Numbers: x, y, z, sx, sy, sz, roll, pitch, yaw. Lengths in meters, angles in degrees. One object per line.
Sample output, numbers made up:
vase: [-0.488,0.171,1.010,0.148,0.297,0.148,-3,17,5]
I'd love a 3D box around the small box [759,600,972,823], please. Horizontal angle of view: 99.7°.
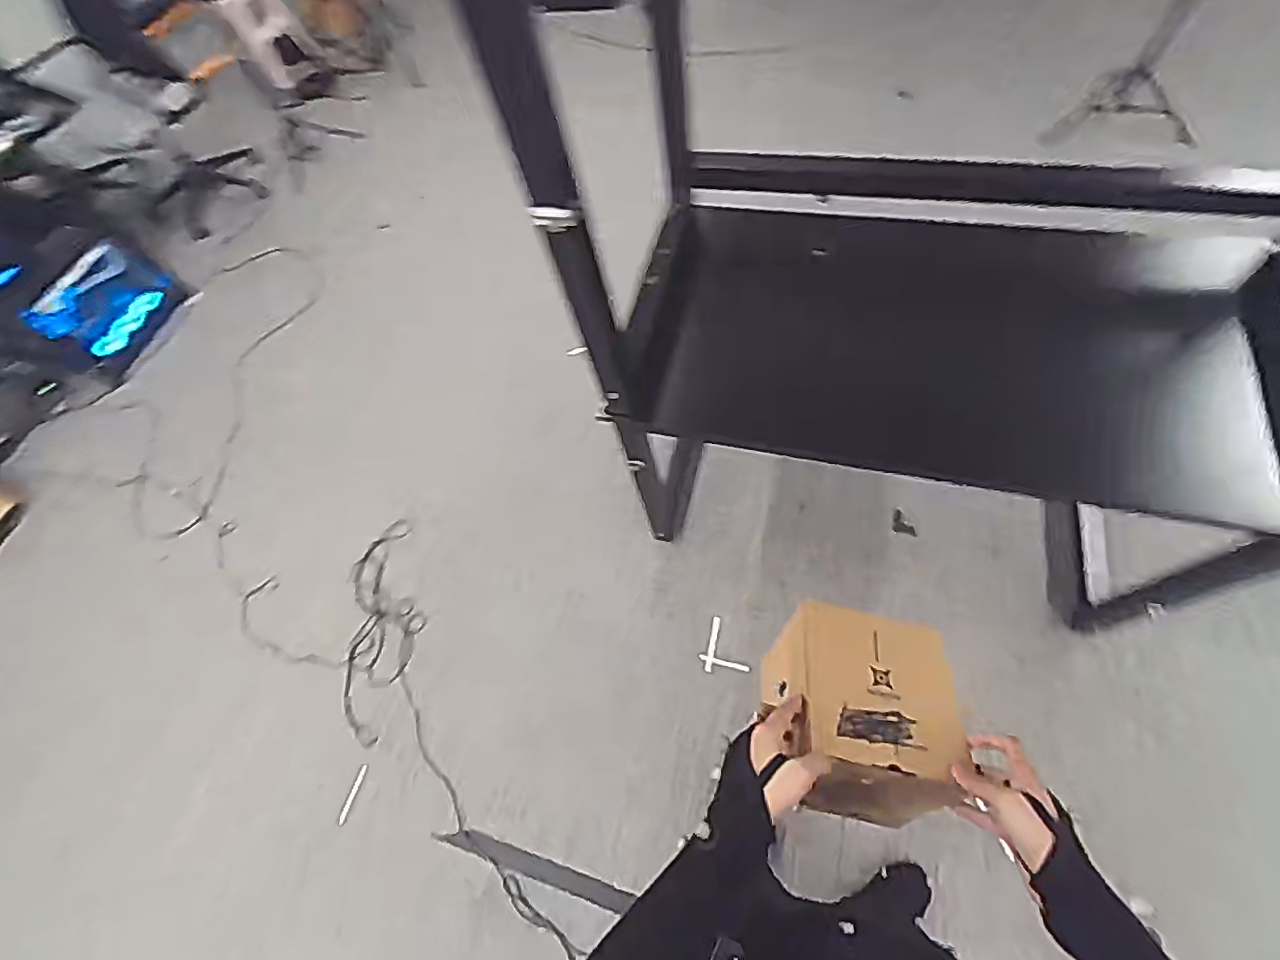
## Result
small box: [0.243,0.274,0.632,0.168,0.176,0.179,13,45,2]
